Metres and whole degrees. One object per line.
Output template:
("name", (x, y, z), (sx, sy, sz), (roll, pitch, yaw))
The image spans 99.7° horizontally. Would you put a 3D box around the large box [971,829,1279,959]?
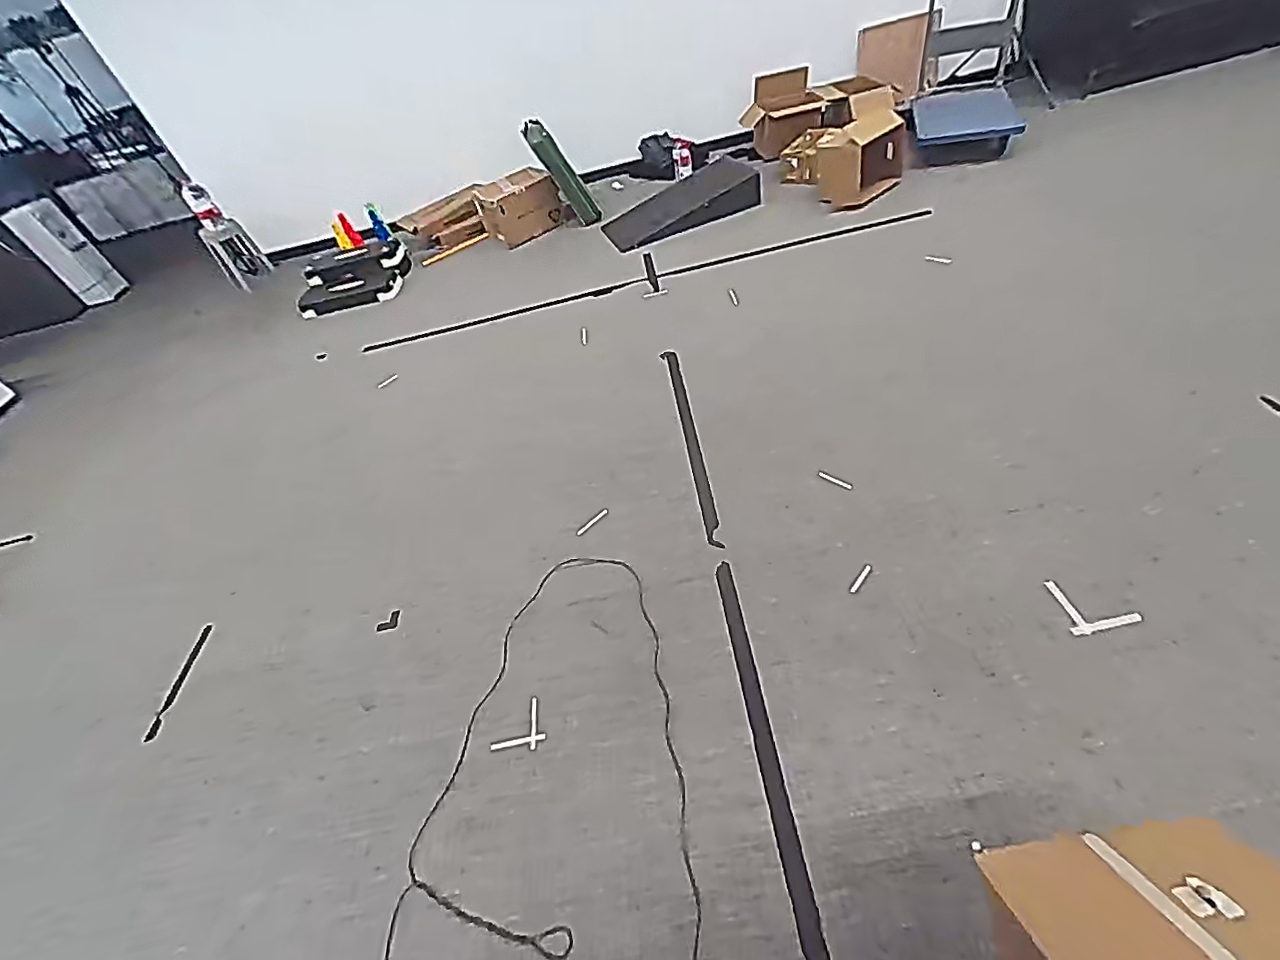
("large box", (0.640, 0.659, 0.564), (0.320, 0.408, 0.320), (-12, 86, 6))
